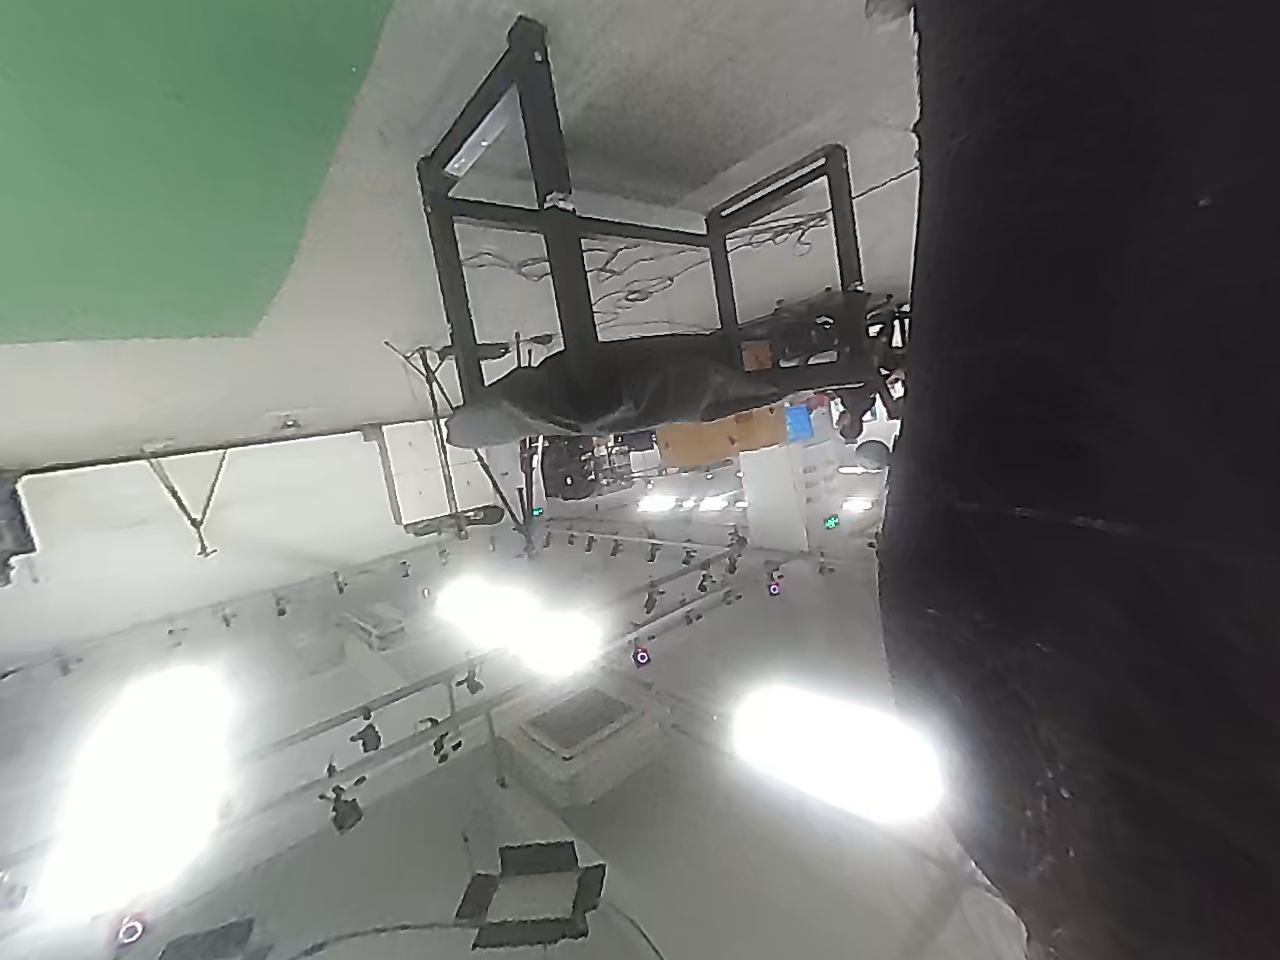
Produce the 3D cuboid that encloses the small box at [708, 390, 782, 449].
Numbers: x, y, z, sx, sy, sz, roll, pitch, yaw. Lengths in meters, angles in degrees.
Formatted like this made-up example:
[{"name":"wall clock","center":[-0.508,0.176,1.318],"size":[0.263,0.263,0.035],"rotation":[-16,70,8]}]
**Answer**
[{"name":"small box","center":[0.339,-0.201,1.773],"size":[0.168,0.176,0.179],"rotation":[-14,-172,-38]}]
